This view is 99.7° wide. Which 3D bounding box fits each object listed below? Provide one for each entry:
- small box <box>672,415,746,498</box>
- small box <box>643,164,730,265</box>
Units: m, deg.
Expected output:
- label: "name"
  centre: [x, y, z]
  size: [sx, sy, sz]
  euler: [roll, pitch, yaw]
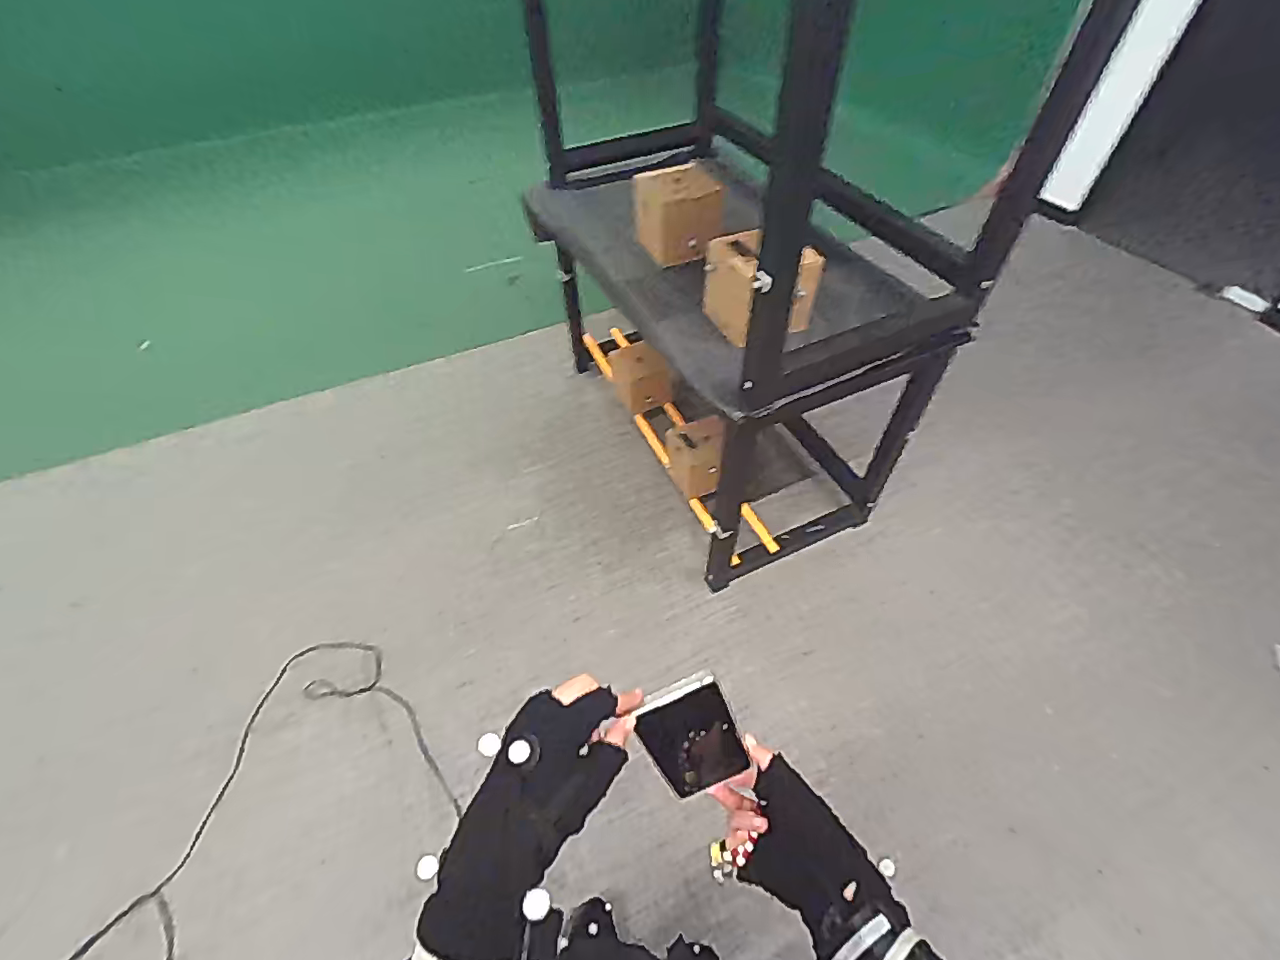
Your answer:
- label: "small box"
  centre: [0.212, -0.069, 1.688]
  size: [0.179, 0.176, 0.168]
  euler: [-18, 52, -11]
- label: "small box"
  centre: [0.114, -0.679, 1.385]
  size: [0.168, 0.176, 0.179]
  euler: [-18, 52, -12]
